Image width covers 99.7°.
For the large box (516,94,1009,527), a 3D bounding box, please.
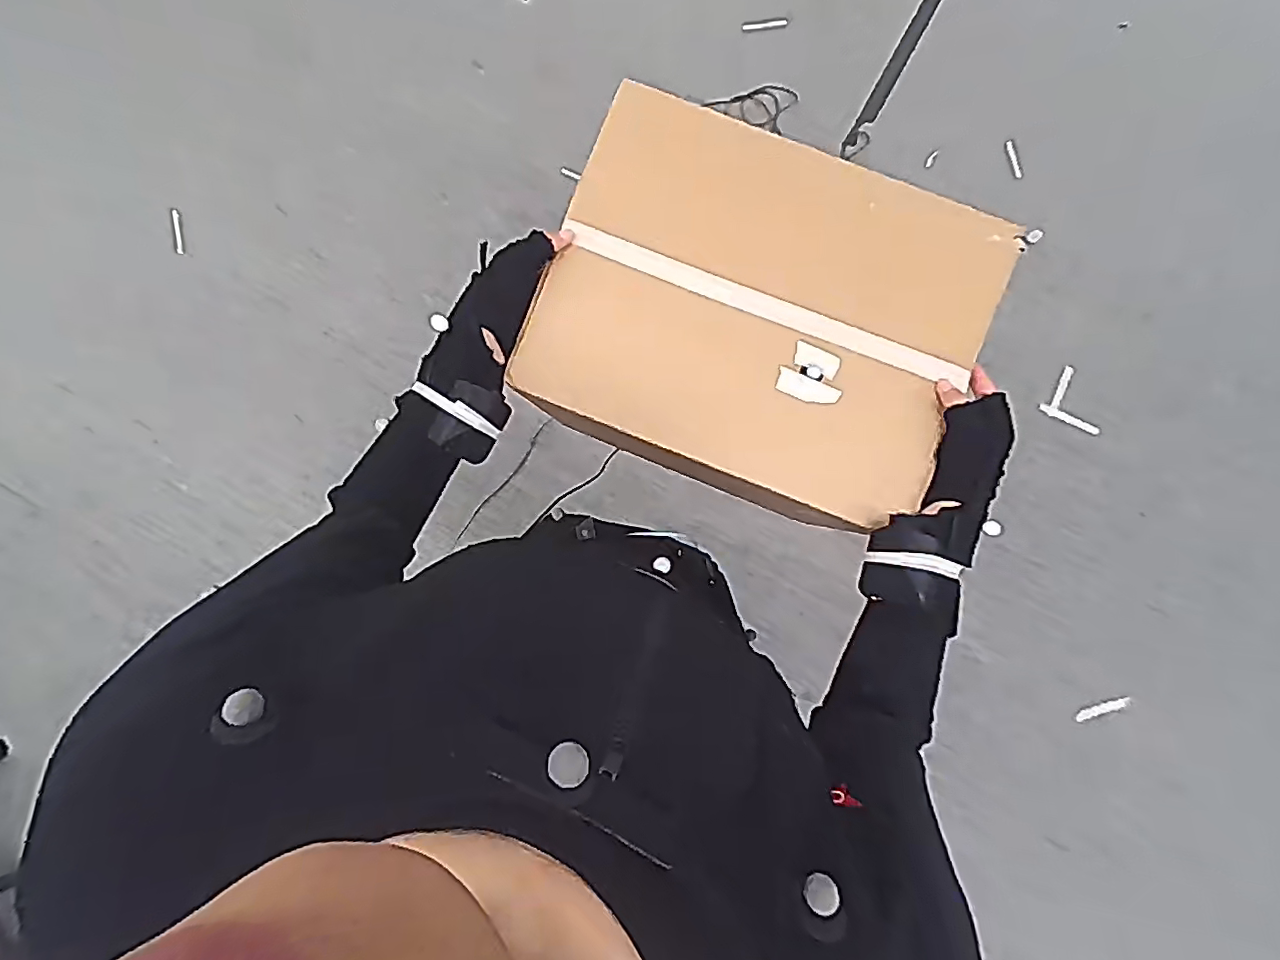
[{"bbox_3d":[0.117,-0.164,0.668,0.408,0.320,0.320,22,91,1],"label":"large box"}]
